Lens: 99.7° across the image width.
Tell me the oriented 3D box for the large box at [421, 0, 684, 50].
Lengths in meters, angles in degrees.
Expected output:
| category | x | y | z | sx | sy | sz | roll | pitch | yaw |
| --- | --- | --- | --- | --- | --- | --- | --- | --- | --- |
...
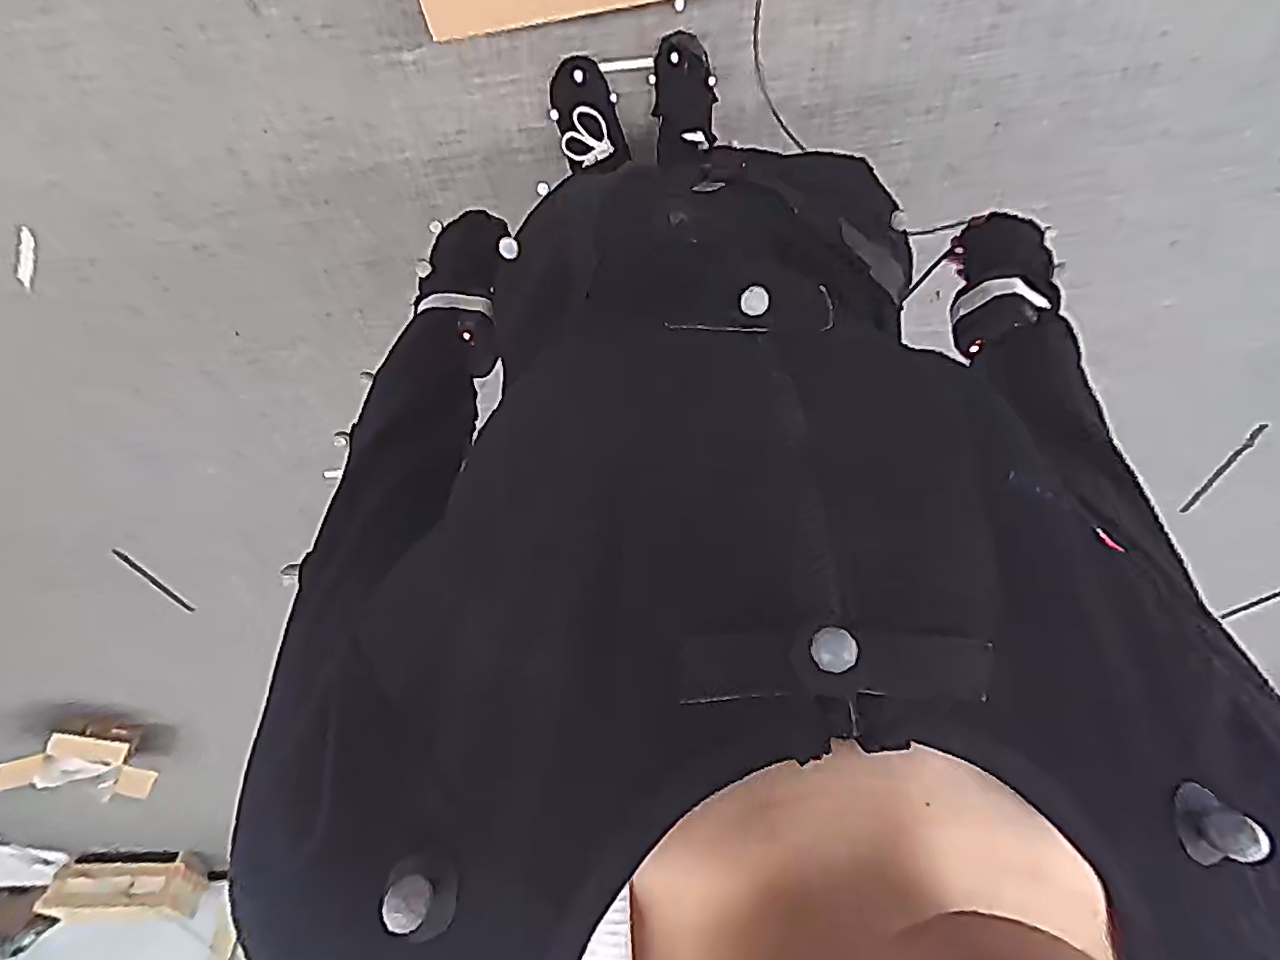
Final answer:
| category | x | y | z | sx | sy | sz | roll | pitch | yaw |
| --- | --- | --- | --- | --- | --- | --- | --- | --- | --- |
| large box | -0.107 | -0.817 | 0.708 | 0.408 | 0.320 | 0.320 | -8 | 134 | 4 |
